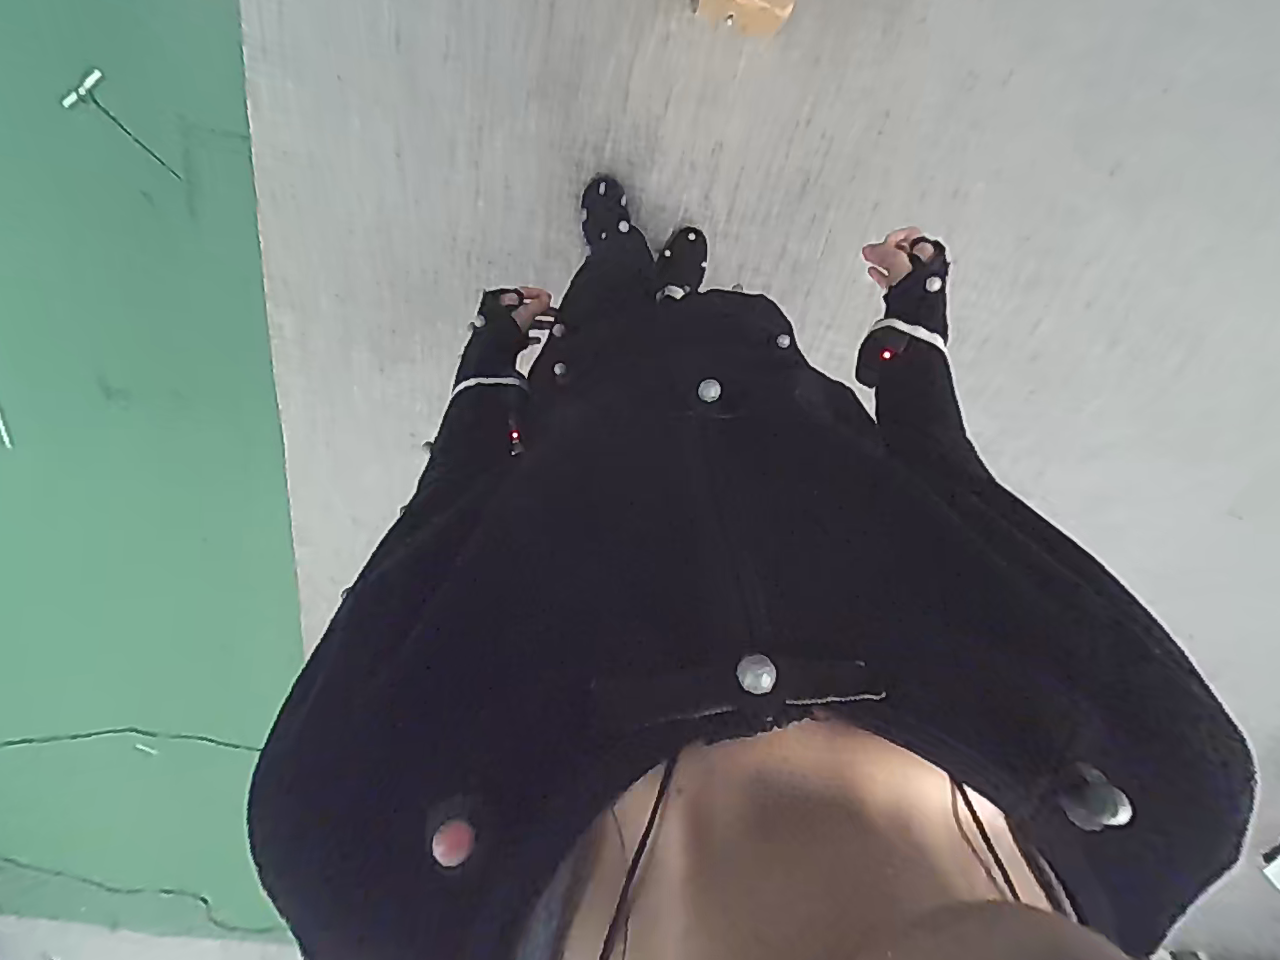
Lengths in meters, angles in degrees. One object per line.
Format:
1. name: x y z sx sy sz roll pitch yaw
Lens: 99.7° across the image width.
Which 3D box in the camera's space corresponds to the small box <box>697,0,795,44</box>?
1. small box: 0.210 -0.956 1.005 0.168 0.176 0.179 12 119 -6
